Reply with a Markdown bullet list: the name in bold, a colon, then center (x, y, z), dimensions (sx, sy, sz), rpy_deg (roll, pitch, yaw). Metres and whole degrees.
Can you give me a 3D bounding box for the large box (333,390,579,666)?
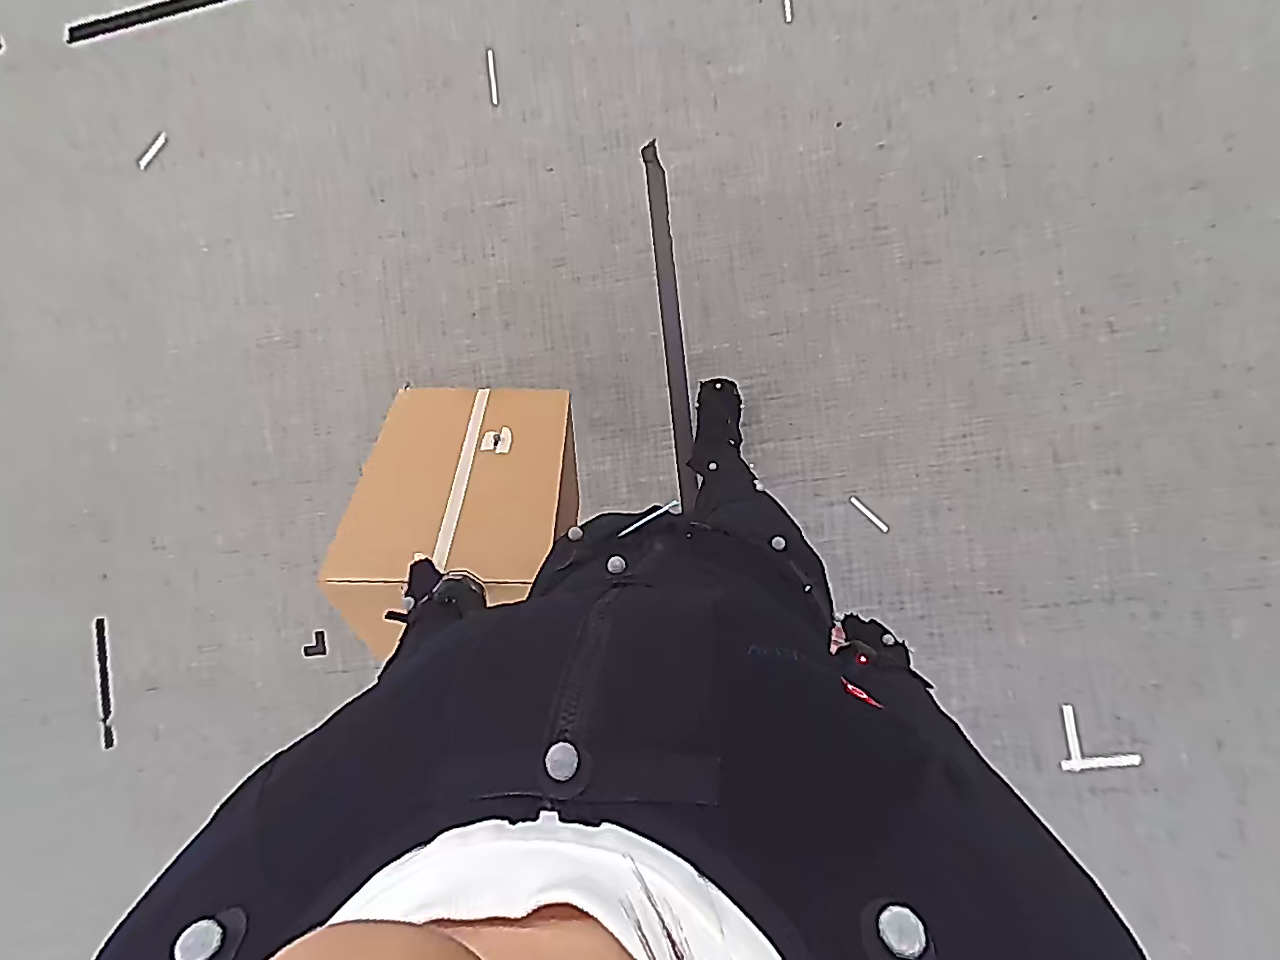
- **large box**: center (-0.281, 0.086, 0.984), dimensions (0.320, 0.320, 0.408), rpy_deg (1, 48, -3)
